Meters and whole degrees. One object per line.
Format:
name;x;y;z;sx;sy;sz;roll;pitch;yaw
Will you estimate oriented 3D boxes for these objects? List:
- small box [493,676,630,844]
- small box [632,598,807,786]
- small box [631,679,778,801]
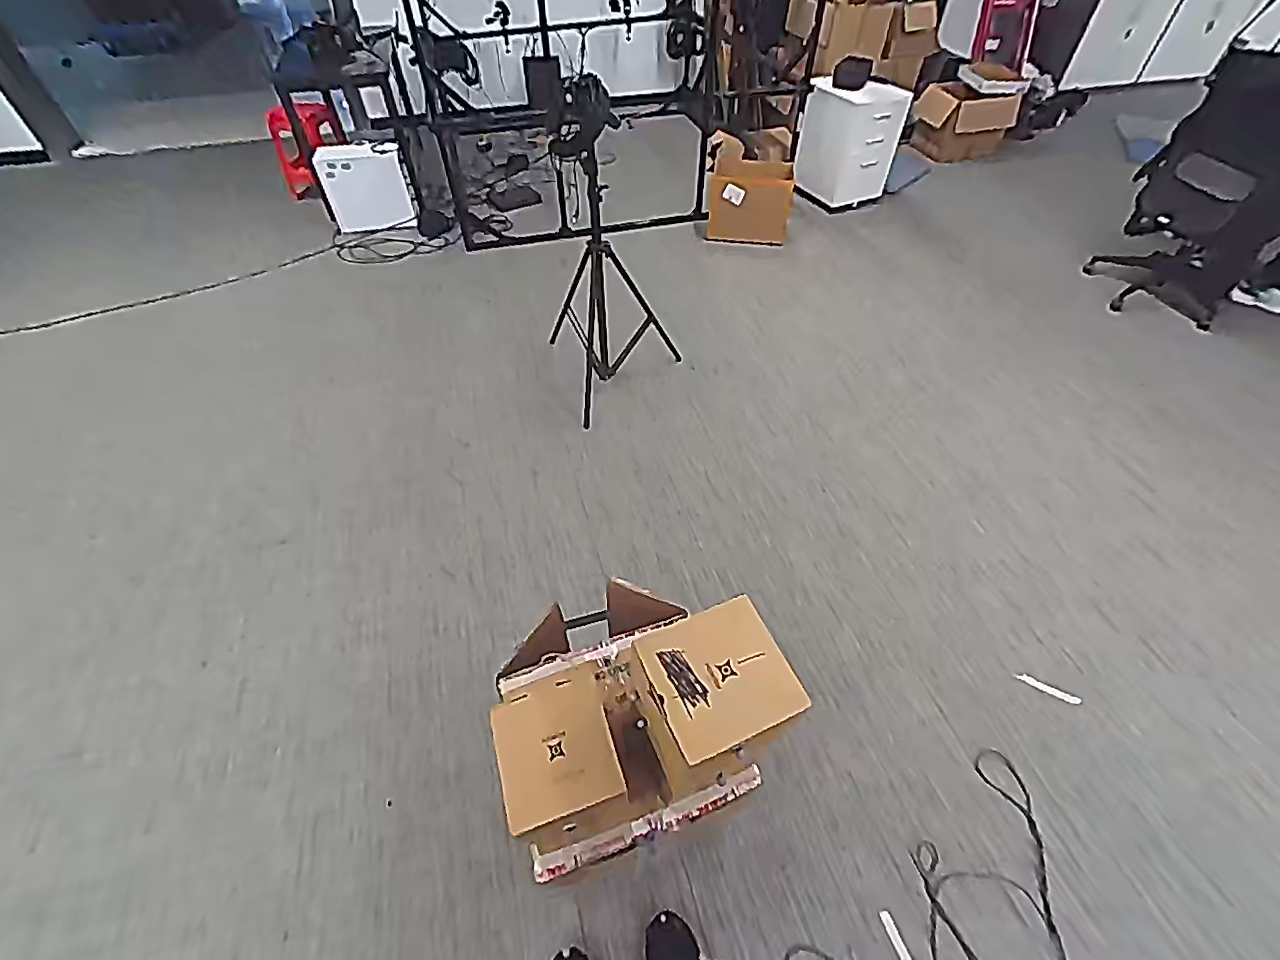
small box;-0.120;0.442;0.851;0.168;0.176;0.179;-17;55;-11
small box;0.099;0.300;0.756;0.179;0.176;0.168;-18;55;-16
small box;0.094;0.398;0.890;0.179;0.176;0.168;-18;55;-16
